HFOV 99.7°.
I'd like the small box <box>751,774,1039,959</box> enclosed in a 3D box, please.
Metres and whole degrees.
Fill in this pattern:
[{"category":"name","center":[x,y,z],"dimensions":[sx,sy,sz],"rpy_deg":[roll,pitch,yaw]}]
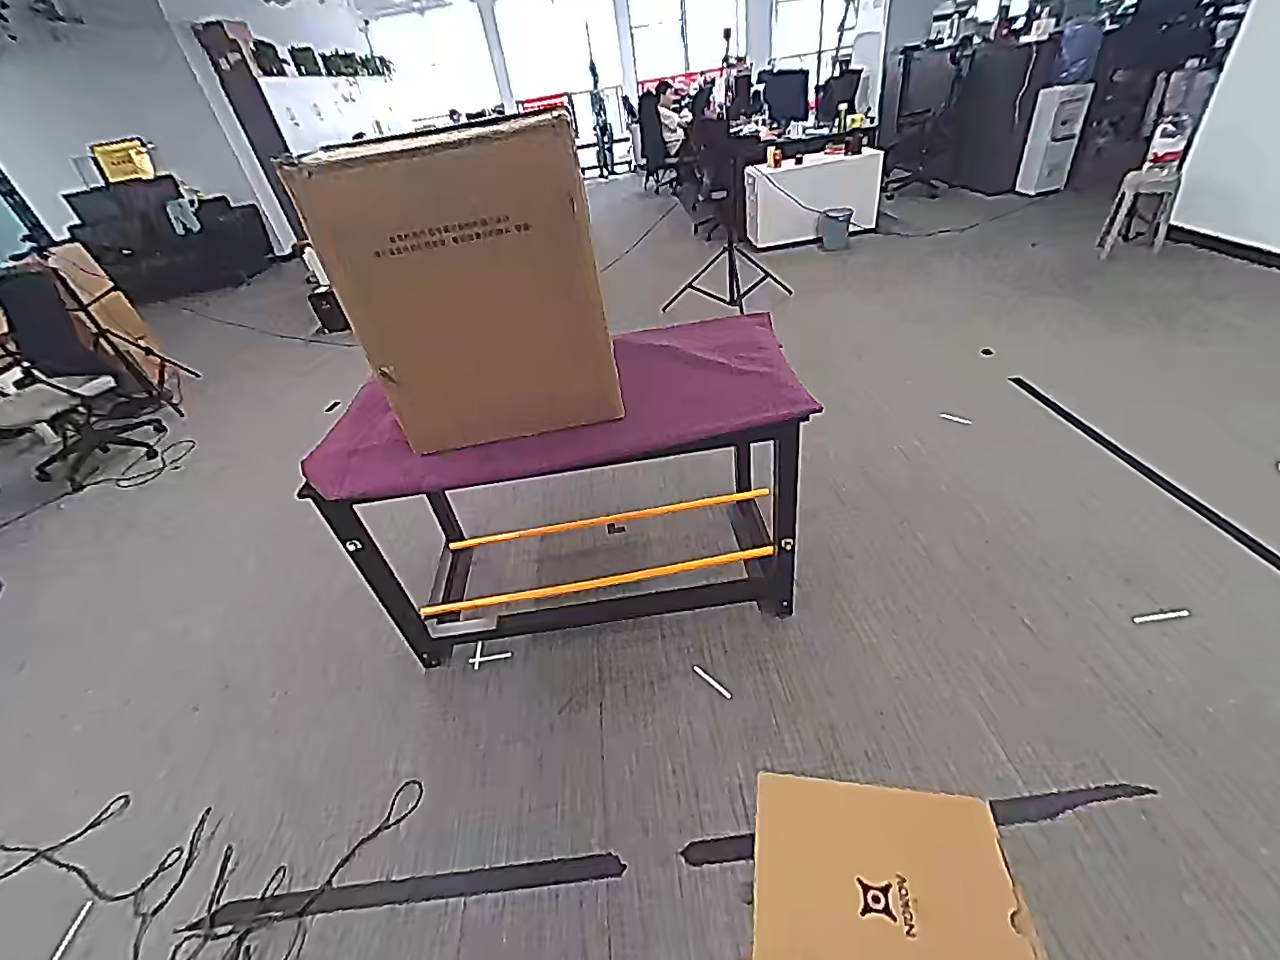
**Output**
[{"category":"small box","center":[0.178,0.358,0.408],"dimensions":[0.179,0.176,0.168],"rpy_deg":[-1,30,14]}]
